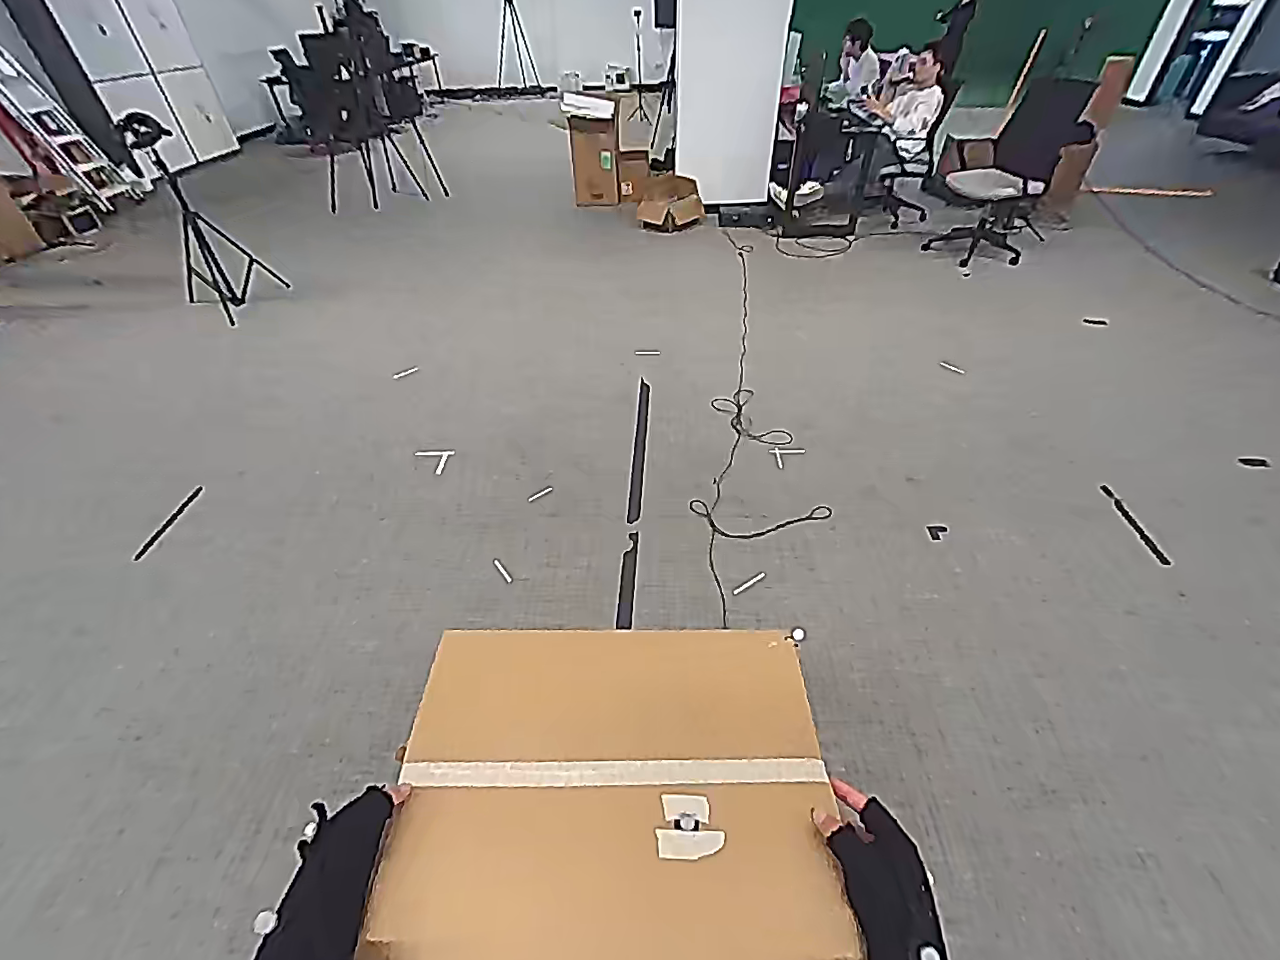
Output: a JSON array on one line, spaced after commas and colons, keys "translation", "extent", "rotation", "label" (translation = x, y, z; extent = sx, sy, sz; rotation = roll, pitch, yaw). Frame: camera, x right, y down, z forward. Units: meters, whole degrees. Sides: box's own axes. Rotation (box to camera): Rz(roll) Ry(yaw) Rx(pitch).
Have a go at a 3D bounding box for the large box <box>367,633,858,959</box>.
[{"translation": [-0.027, 0.398, 0.636], "extent": [0.408, 0.320, 0.320], "rotation": [1, 43, -1], "label": "large box"}]
